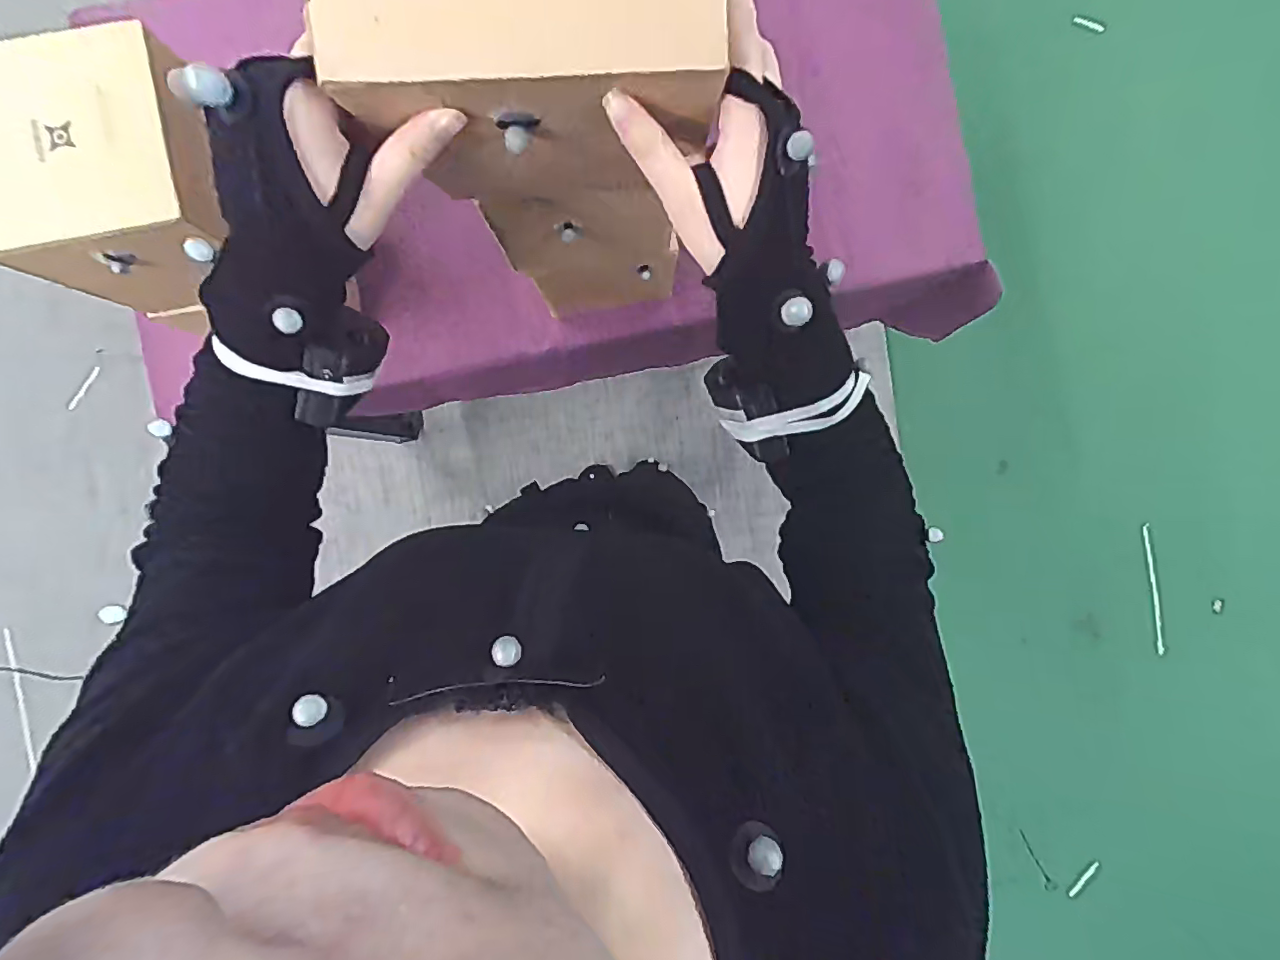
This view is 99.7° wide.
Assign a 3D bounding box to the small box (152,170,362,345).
[{"bbox_3d":[-0.479,-0.277,0.685,0.168,0.176,0.179,-9,91,-1],"label":"small box"}]

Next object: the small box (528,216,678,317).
[{"bbox_3d":[-0.053,-0.321,0.689,0.179,0.176,0.168,-10,91,-1],"label":"small box"}]

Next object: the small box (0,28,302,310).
[{"bbox_3d":[-0.472,-0.276,0.522,0.179,0.176,0.168,-10,92,-1],"label":"small box"}]

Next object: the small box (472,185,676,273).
[{"bbox_3d":[-0.058,-0.314,0.525,0.179,0.176,0.168,-5,90,0],"label":"small box"}]

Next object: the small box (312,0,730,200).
[{"bbox_3d":[-0.051,-0.264,0.292,0.179,0.176,0.168,-3,102,0],"label":"small box"}]
